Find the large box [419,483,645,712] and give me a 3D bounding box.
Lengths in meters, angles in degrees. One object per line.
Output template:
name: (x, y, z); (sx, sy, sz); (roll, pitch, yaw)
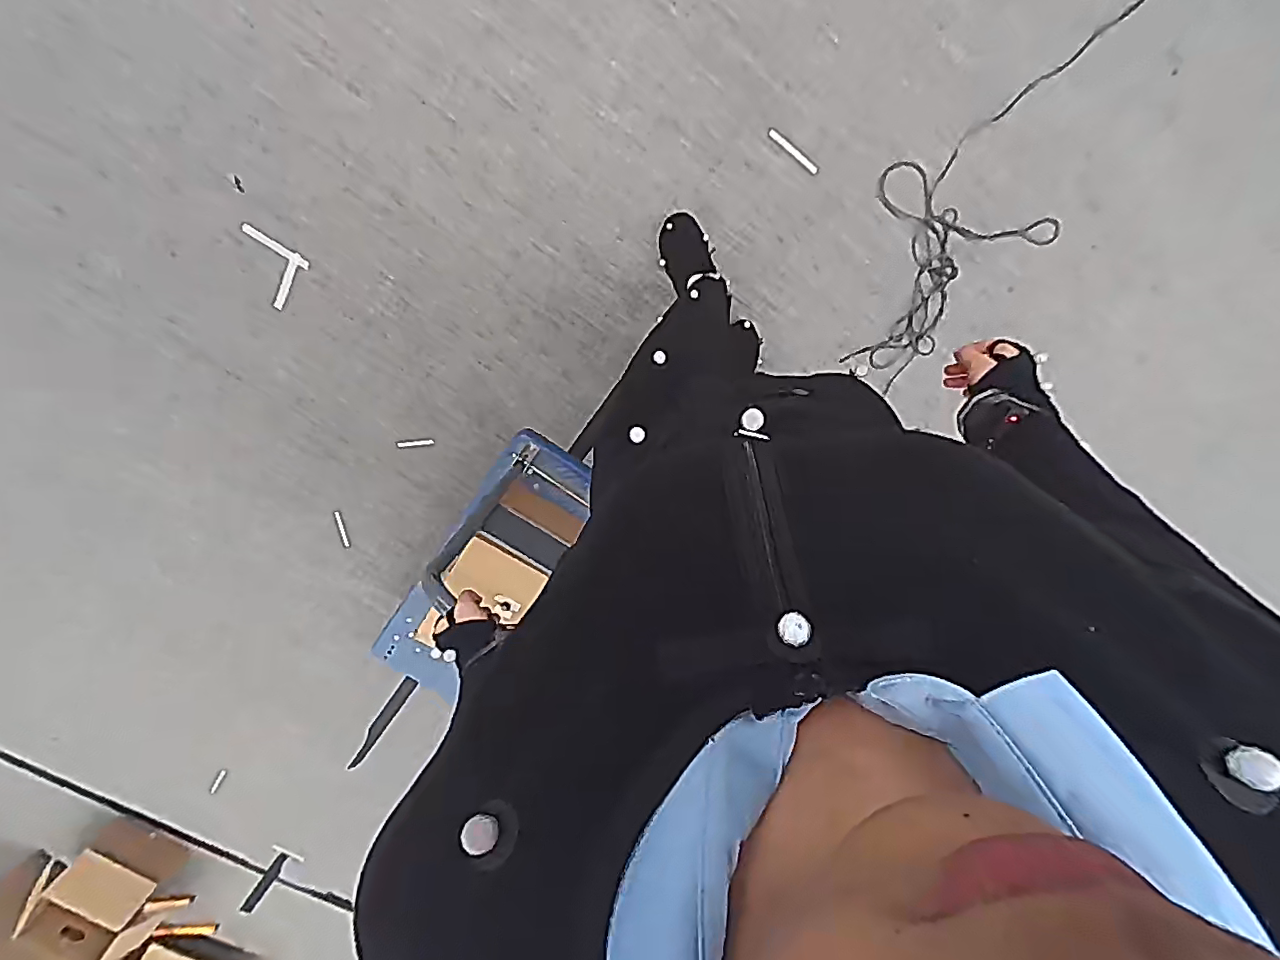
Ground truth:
large box: (-0.238, 0.274, 1.322); (0.408, 0.320, 0.320); (32, 109, -8)
